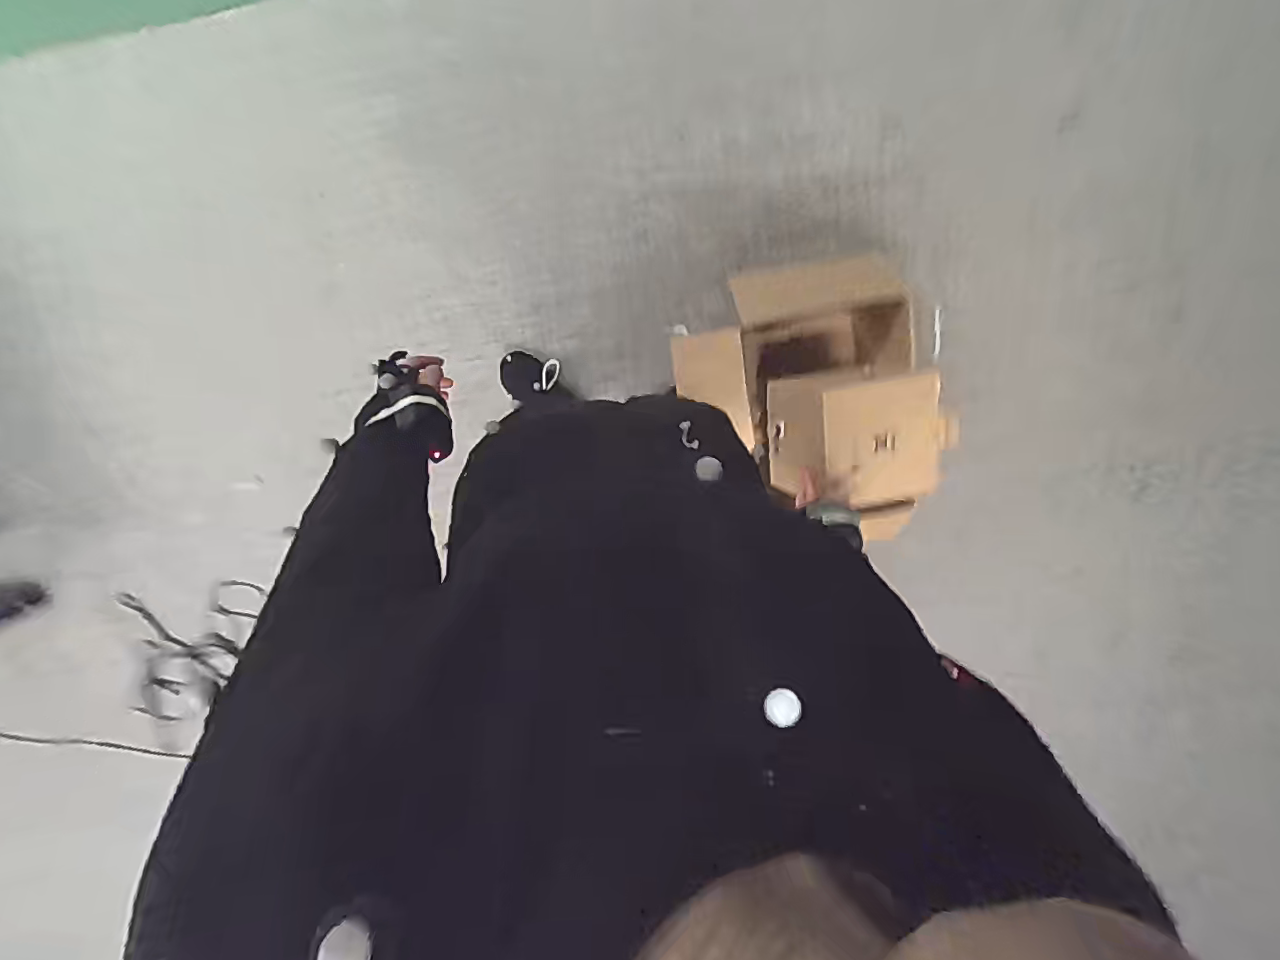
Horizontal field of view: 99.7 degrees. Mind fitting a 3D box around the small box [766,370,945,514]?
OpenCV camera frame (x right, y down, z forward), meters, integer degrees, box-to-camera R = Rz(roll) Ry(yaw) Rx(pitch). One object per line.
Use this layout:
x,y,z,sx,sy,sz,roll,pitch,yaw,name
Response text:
0.300,-0.065,0.778,0.179,0.176,0.168,-10,105,-11,small box
